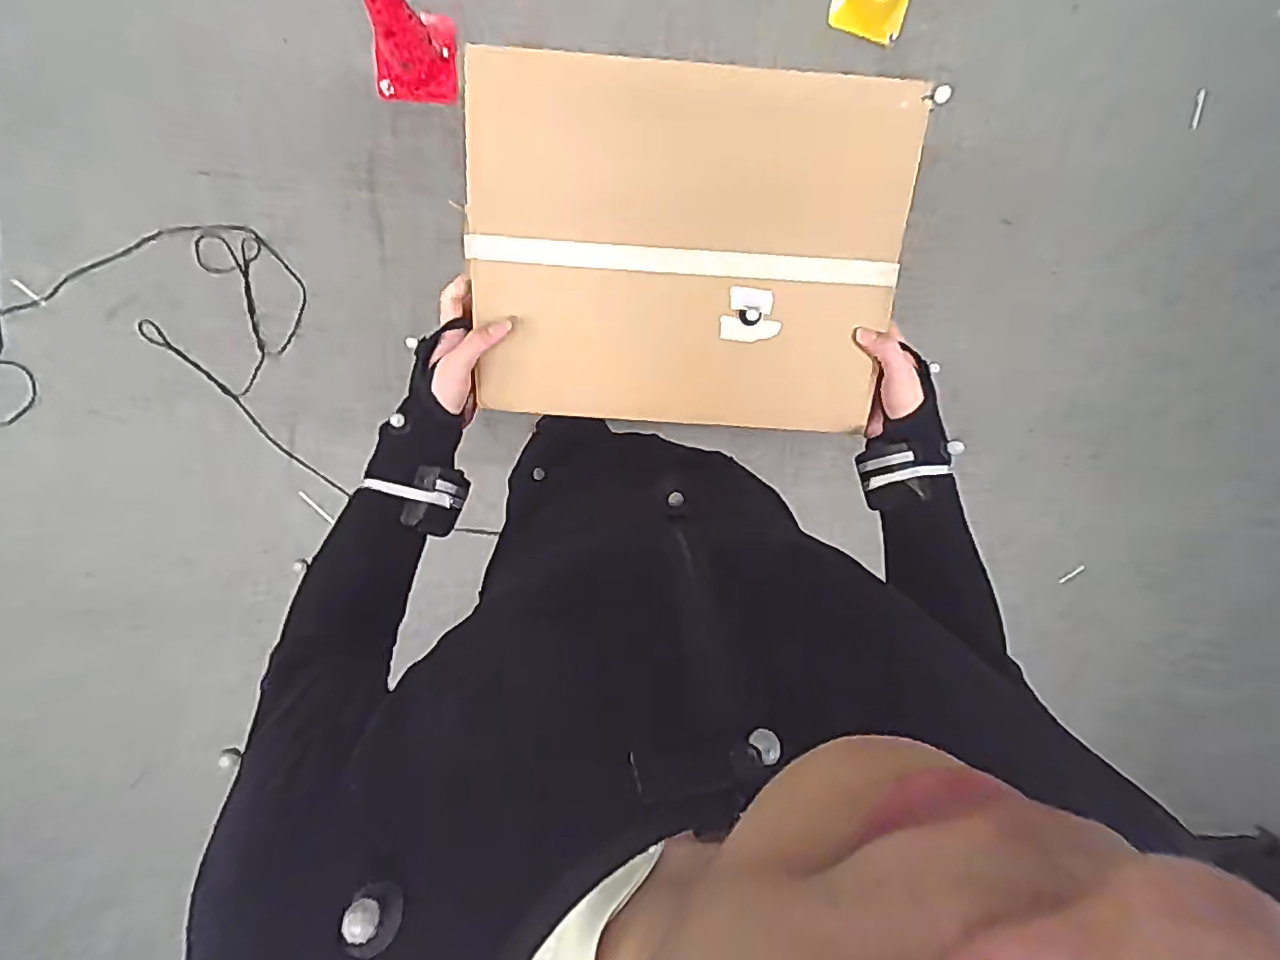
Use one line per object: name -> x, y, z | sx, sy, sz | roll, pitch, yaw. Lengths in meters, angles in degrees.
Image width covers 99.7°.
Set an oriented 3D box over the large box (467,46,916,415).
large box -> 0.037, -0.265, 0.658 | 0.408, 0.320, 0.320 | 3, 109, -2
